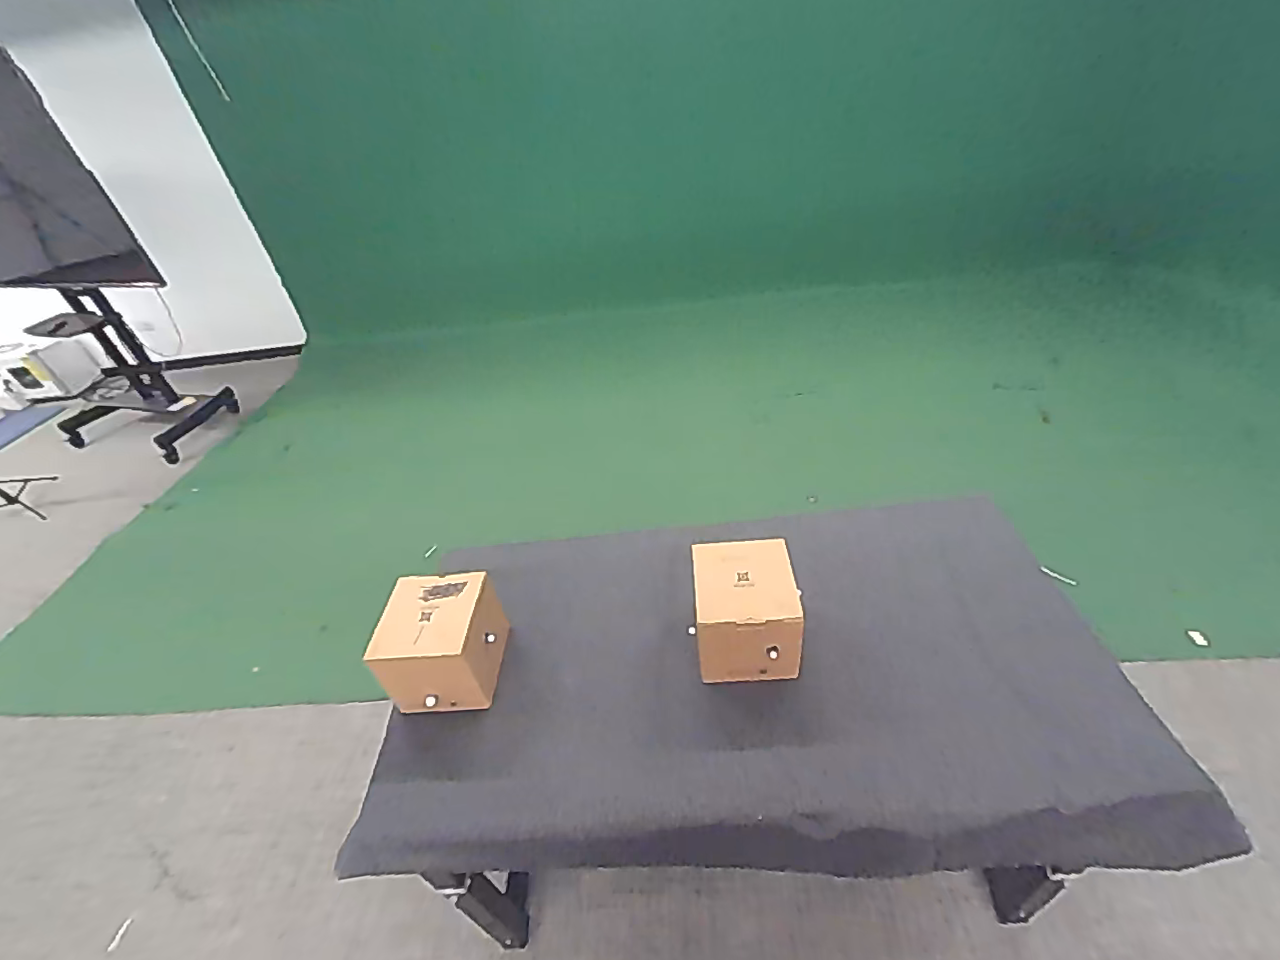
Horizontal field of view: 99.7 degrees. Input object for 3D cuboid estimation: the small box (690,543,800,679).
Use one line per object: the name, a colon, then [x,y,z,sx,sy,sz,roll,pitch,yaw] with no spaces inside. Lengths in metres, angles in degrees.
small box: [0.179,0.235,0.956,0.168,0.176,0.179,-4,38,4]

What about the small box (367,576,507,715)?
small box: [-0.348,0.296,0.973,0.168,0.176,0.179,-5,39,4]
